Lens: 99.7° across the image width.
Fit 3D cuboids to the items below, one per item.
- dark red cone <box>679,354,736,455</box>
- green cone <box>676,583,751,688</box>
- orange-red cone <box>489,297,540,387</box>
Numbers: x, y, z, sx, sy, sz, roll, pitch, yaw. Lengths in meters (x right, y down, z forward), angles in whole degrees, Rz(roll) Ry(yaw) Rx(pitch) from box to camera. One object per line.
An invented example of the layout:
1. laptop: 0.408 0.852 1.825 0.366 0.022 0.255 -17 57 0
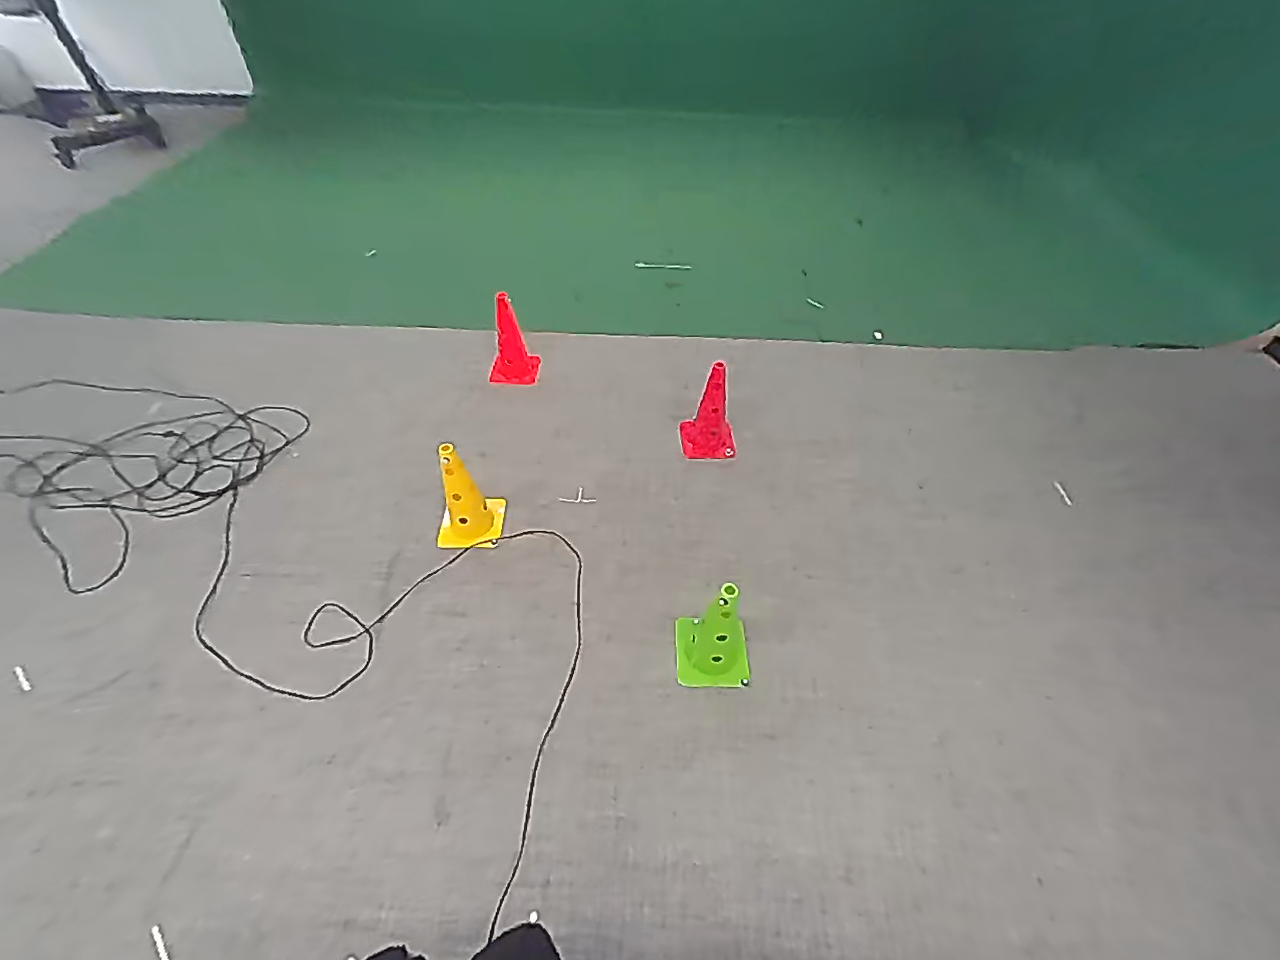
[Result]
1. dark red cone: 0.258 -0.279 1.938 0.202 0.394 0.201 -2 48 -4
2. green cone: 0.205 0.373 1.400 0.202 0.368 0.200 0 48 0
3. orange-red cone: -0.539 -0.578 2.209 0.198 0.360 0.199 1 50 1
